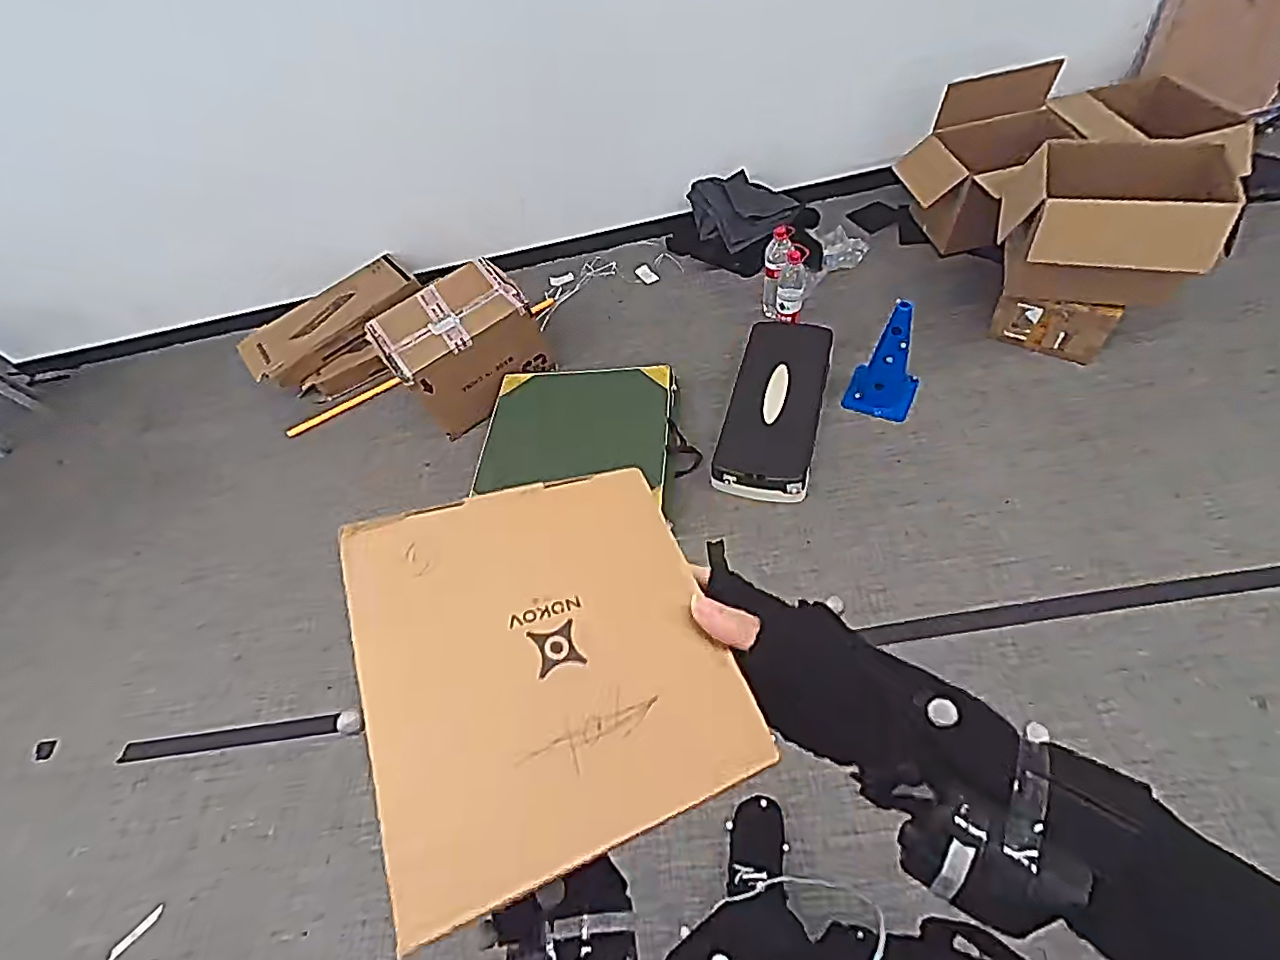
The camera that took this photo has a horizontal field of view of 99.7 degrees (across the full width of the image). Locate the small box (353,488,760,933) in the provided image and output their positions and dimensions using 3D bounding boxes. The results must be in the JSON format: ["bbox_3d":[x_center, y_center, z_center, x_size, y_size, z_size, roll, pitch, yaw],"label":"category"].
[{"bbox_3d":[-0.064,0.133,0.331,0.168,0.176,0.179,-12,59,-24],"label":"small box"}]
